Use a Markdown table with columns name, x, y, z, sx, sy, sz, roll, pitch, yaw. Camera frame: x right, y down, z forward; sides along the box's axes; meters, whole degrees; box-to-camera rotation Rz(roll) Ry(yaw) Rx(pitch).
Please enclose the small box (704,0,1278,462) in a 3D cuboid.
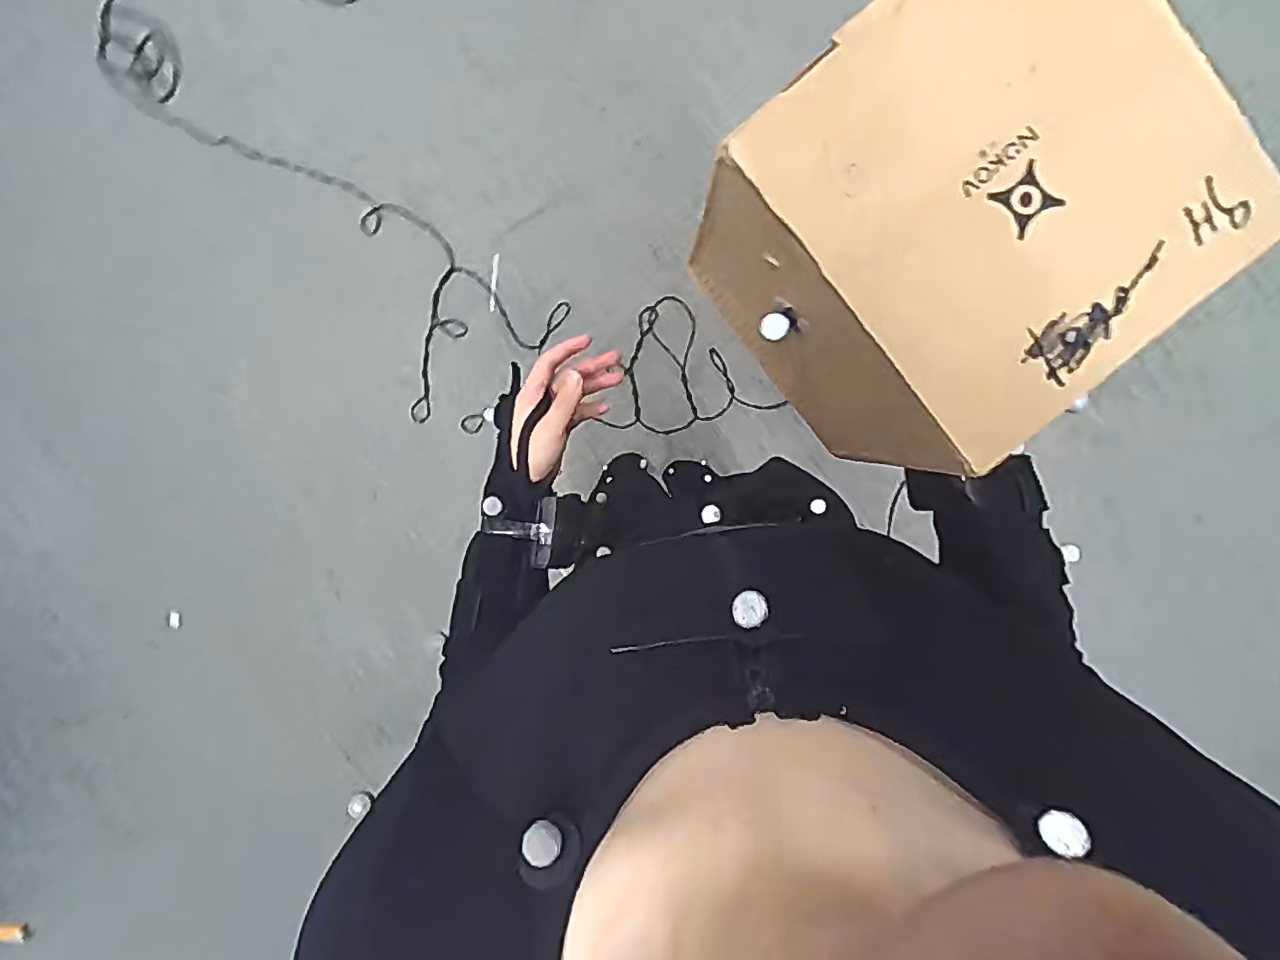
| name | x | y | z | sx | sy | sz | roll | pitch | yaw |
| --- | --- | --- | --- | --- | --- | --- | --- | --- | --- |
| small box | 0.153 | -0.126 | 0.307 | 0.168 | 0.176 | 0.179 | -40 | 93 | 4 |
